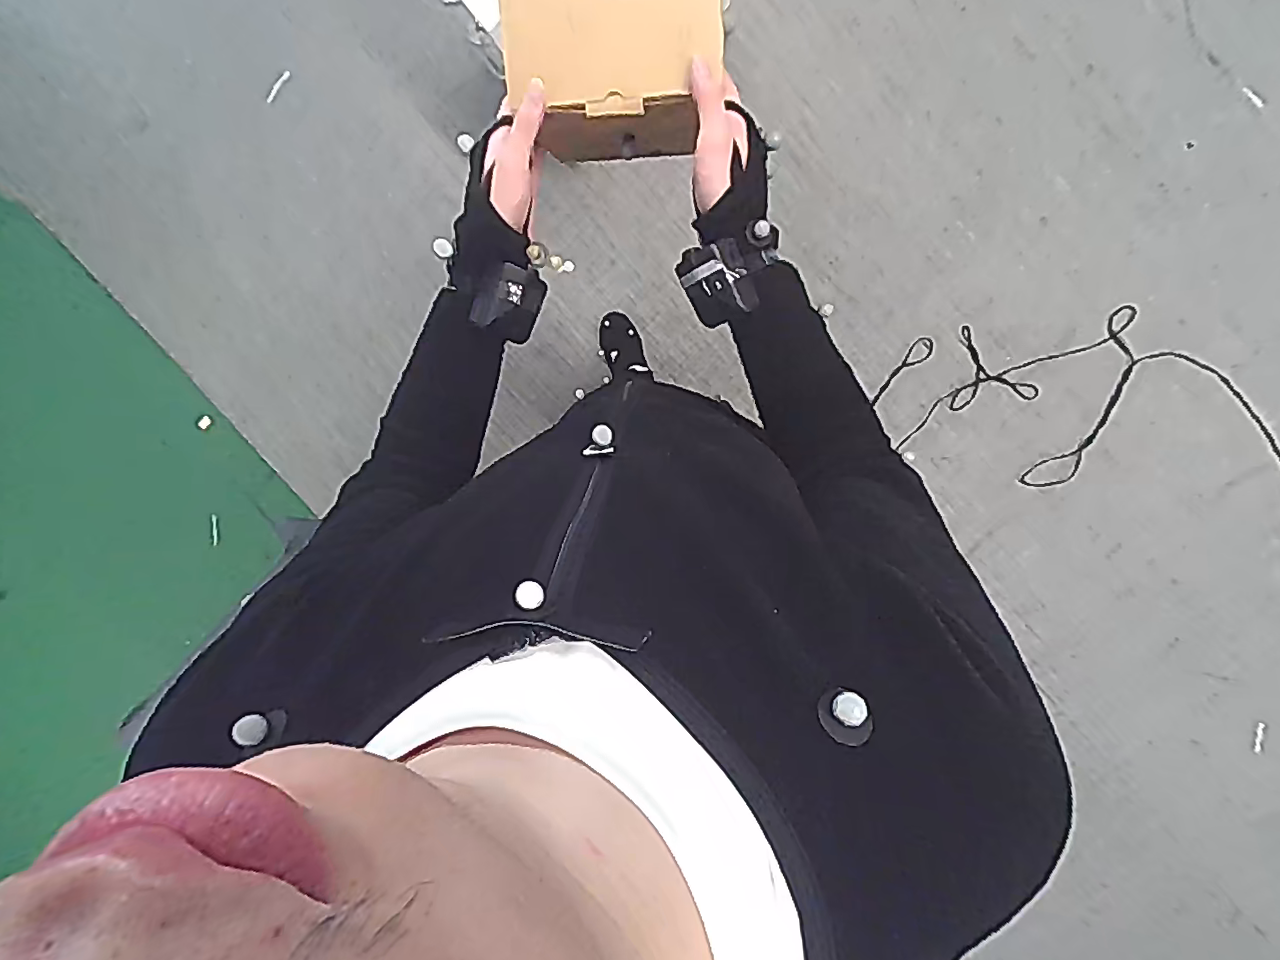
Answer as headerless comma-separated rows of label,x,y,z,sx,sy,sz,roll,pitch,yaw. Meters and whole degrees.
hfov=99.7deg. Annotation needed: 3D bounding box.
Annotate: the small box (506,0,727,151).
small box,-0.010,-0.399,0.461,0.168,0.176,0.179,-2,108,7
